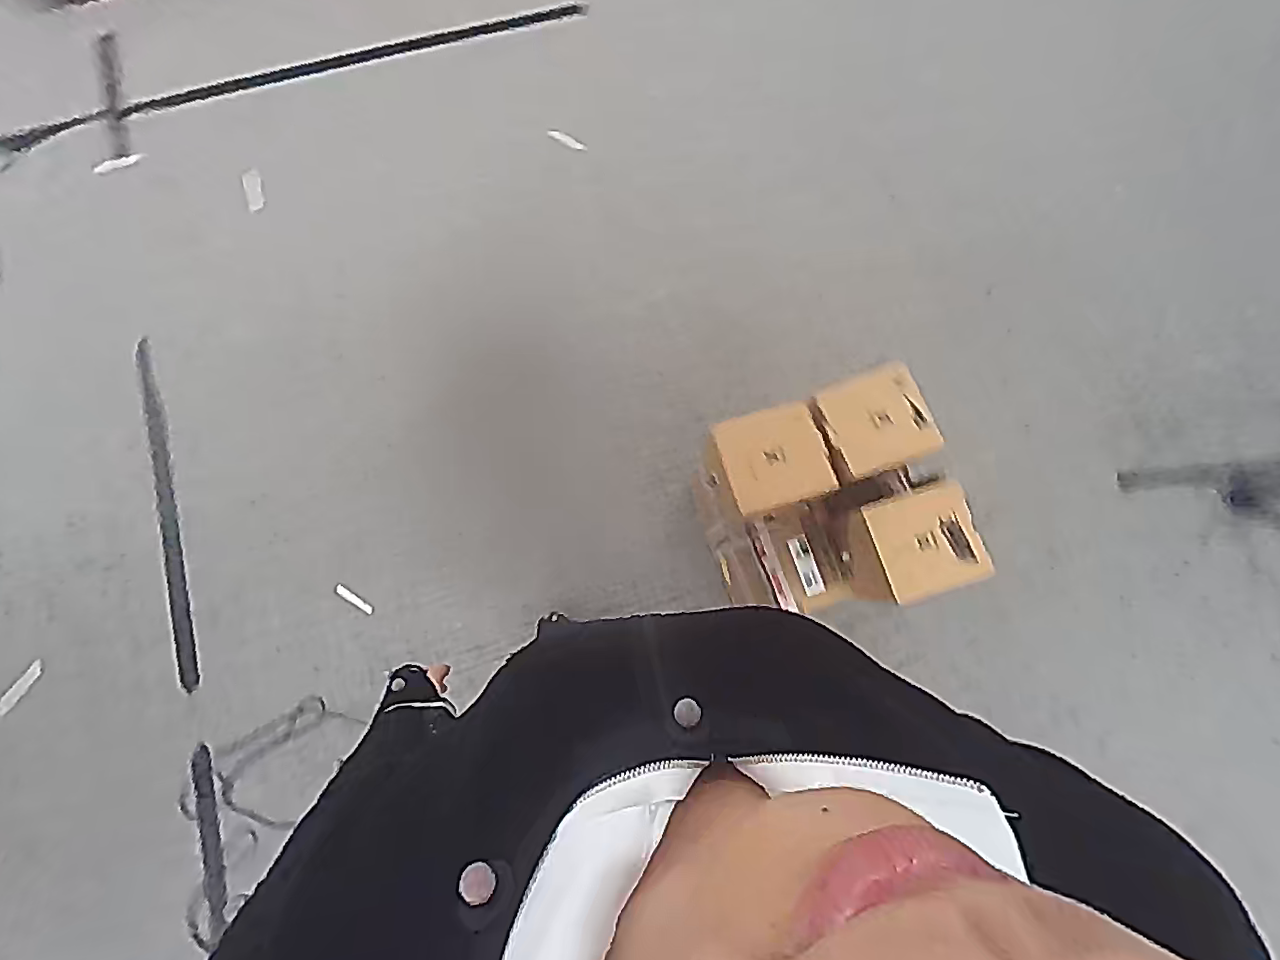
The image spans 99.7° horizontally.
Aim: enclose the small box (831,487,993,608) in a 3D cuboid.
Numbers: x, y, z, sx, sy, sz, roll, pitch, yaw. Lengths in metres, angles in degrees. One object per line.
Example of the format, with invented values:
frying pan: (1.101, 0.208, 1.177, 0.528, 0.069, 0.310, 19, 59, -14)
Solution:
small box: (0.475, 0.122, 0.970, 0.179, 0.176, 0.168, -16, 80, -3)
